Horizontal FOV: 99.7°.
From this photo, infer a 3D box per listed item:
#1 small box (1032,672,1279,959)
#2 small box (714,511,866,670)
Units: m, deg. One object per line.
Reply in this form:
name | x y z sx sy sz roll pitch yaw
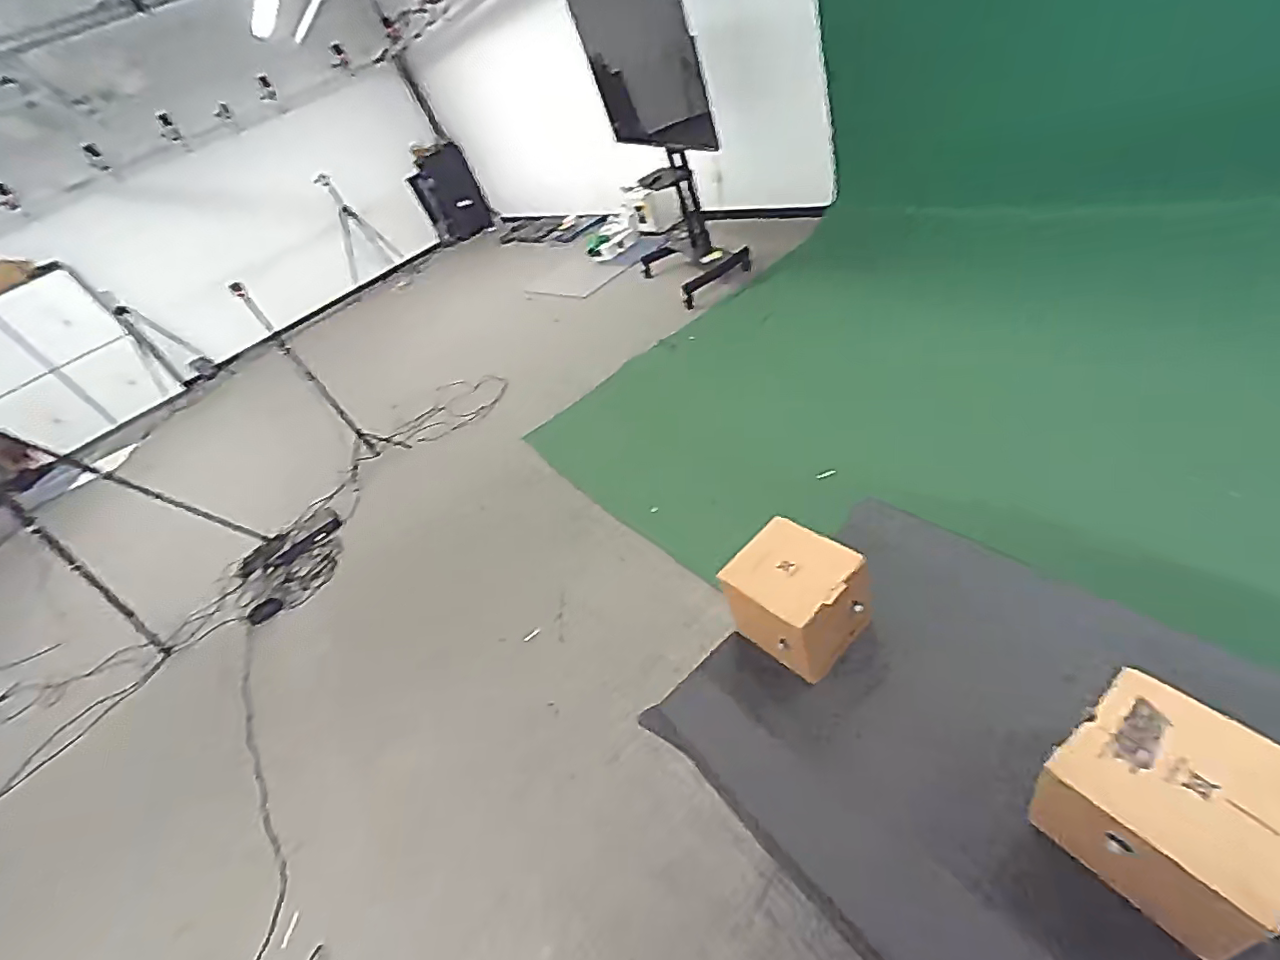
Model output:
small box | 0.554 0.350 0.572 0.168 0.176 0.179 -35 38 -11
small box | 0.258 0.188 0.908 0.168 0.176 0.179 -39 39 -20
